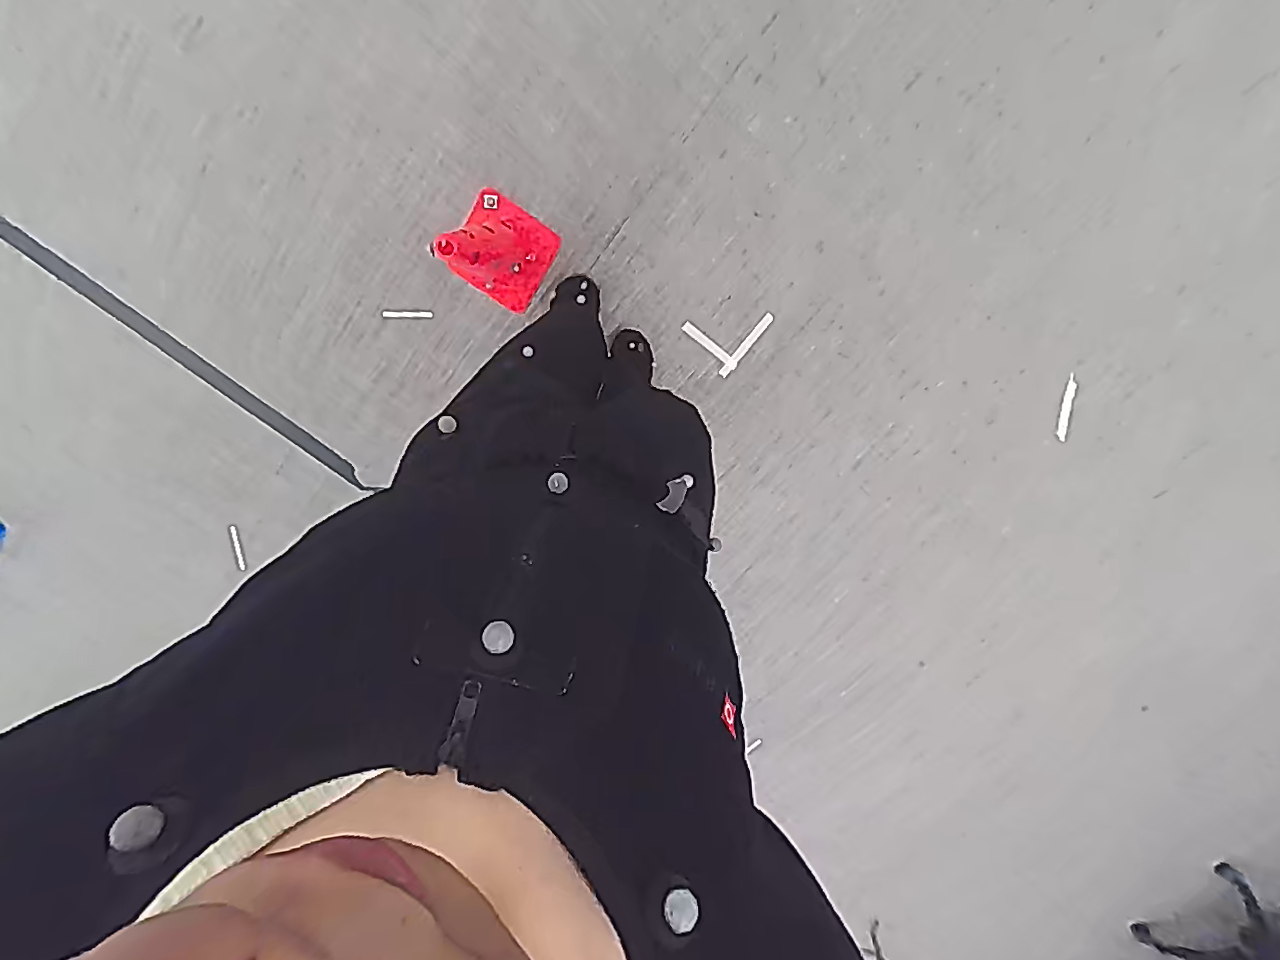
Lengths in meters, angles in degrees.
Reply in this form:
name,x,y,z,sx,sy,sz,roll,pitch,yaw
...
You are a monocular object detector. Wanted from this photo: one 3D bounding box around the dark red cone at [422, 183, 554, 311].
name,x,y,z,sx,sy,sz,roll,pitch,yaw
dark red cone,-0.312,-0.434,1.013,0.202,0.394,0.201,31,111,-10
